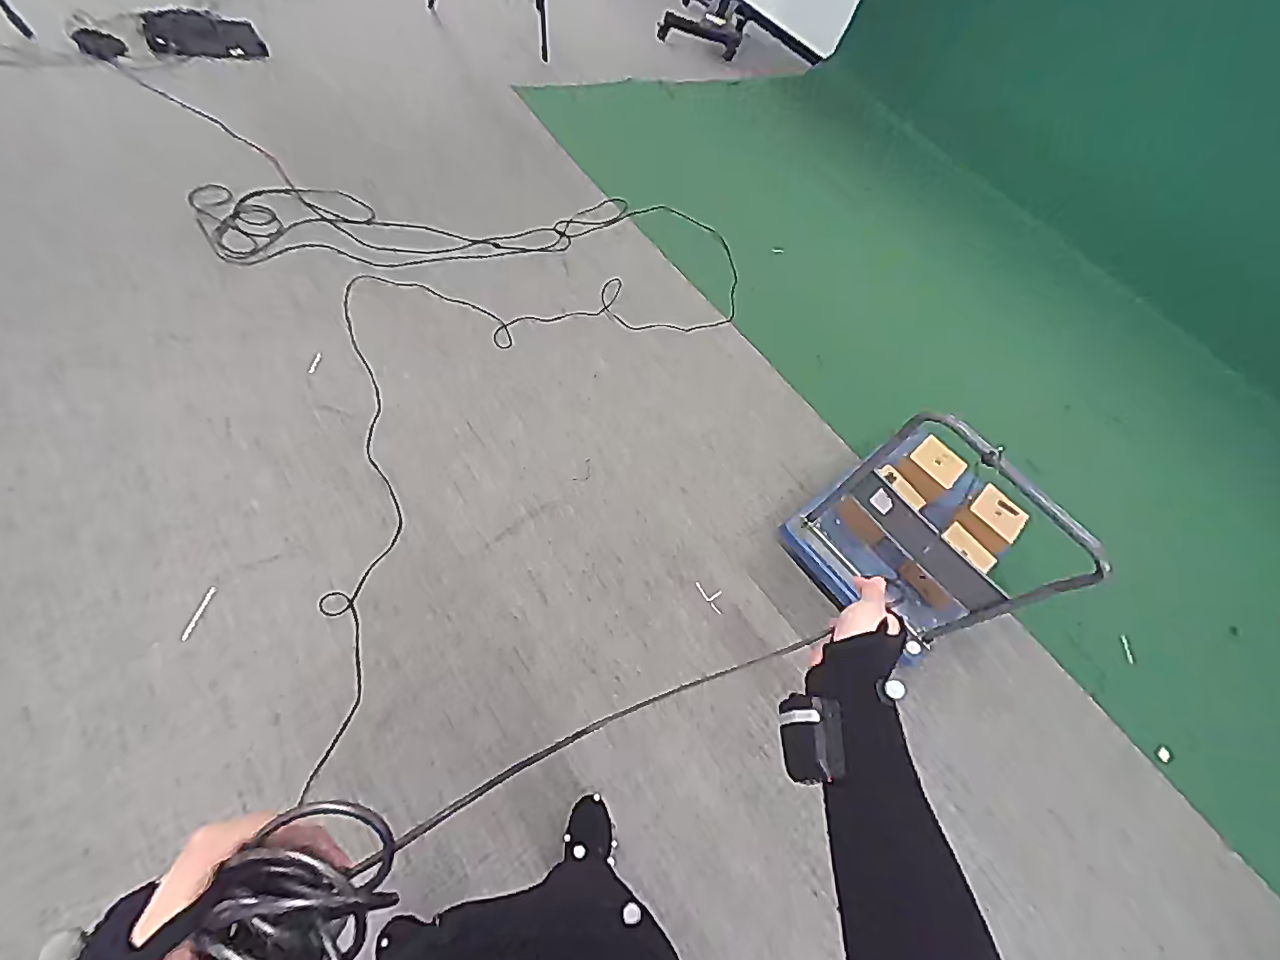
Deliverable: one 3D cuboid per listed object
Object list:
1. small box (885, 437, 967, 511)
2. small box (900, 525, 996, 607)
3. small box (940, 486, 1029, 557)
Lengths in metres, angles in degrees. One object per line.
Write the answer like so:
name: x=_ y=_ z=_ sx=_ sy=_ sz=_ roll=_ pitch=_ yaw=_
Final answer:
small box: x=1.015 y=-0.017 z=1.934 sx=0.179 sy=0.176 sz=0.168 roll=-34 pitch=73 yaw=-31
small box: x=0.982 y=0.278 z=1.737 sx=0.179 sy=0.176 sz=0.168 roll=-30 pitch=70 yaw=-28
small box: x=1.184 y=0.159 z=1.870 sx=0.179 sy=0.176 sz=0.168 roll=-35 pitch=72 yaw=-30
